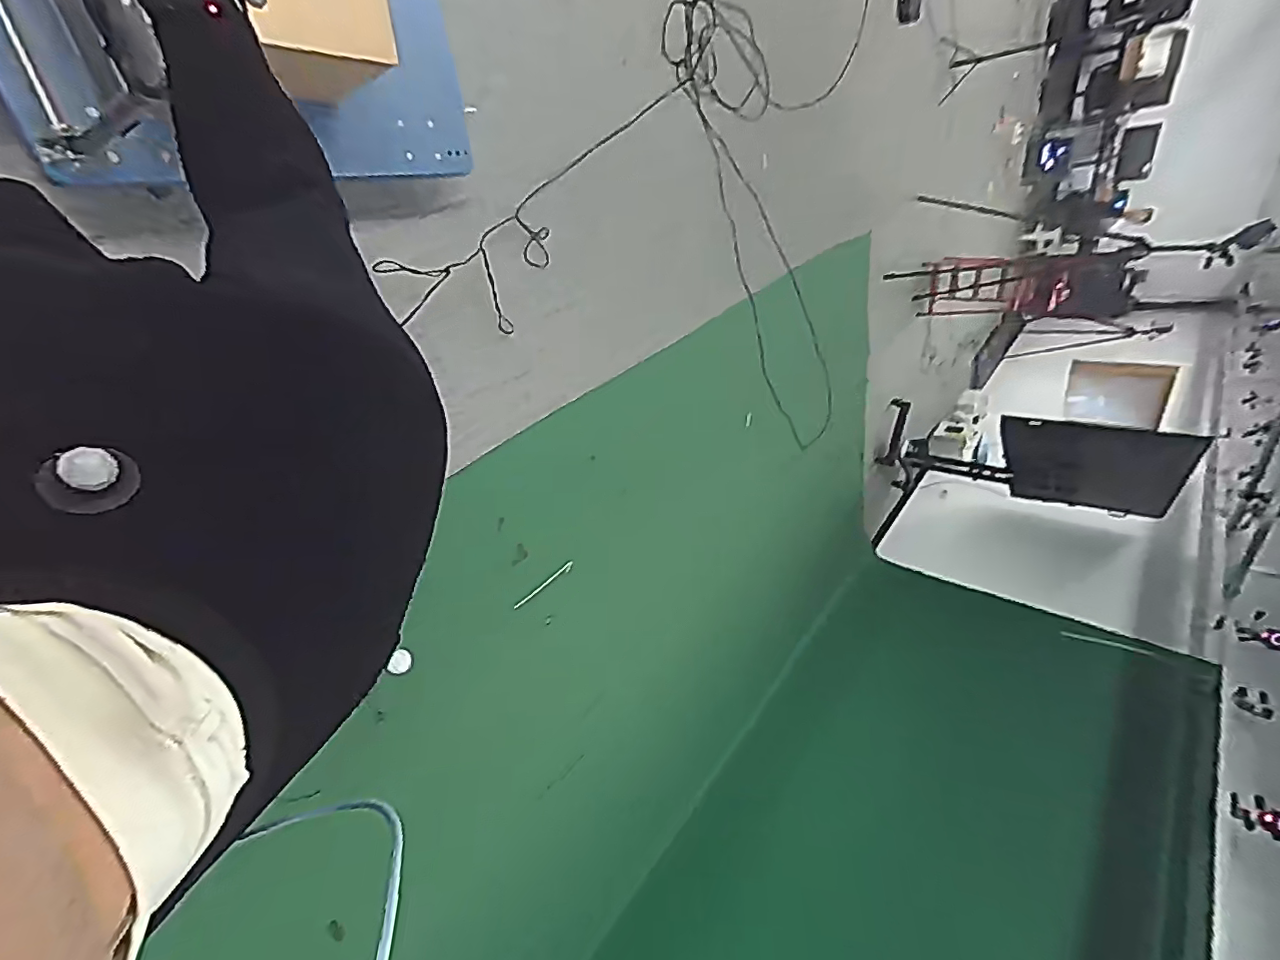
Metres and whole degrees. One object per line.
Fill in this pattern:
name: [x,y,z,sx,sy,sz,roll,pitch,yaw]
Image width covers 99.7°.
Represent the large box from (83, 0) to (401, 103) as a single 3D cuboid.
large box: [-0.709,-0.886,0.934,0.408,0.320,0.320,-28,123,-42]
